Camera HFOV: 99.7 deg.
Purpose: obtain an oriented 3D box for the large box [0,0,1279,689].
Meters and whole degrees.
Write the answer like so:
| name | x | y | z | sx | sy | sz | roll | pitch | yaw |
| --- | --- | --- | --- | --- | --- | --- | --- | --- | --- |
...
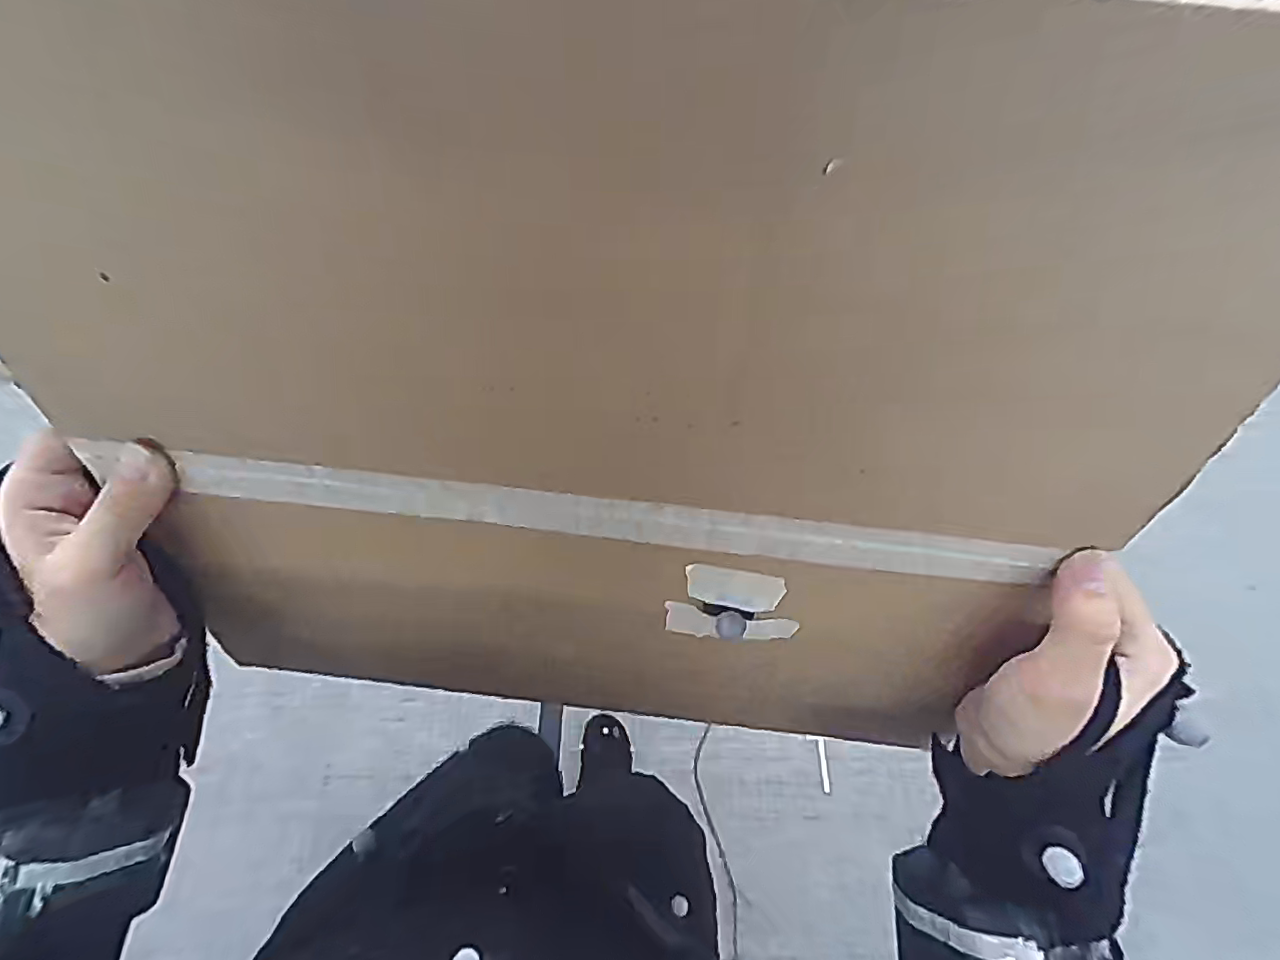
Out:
| name | x | y | z | sx | sy | sz | roll | pitch | yaw |
| --- | --- | --- | --- | --- | --- | --- | --- | --- | --- |
| large box | 0.002 | -0.111 | 0.327 | 0.408 | 0.320 | 0.320 | 5 | 40 | 1 |
